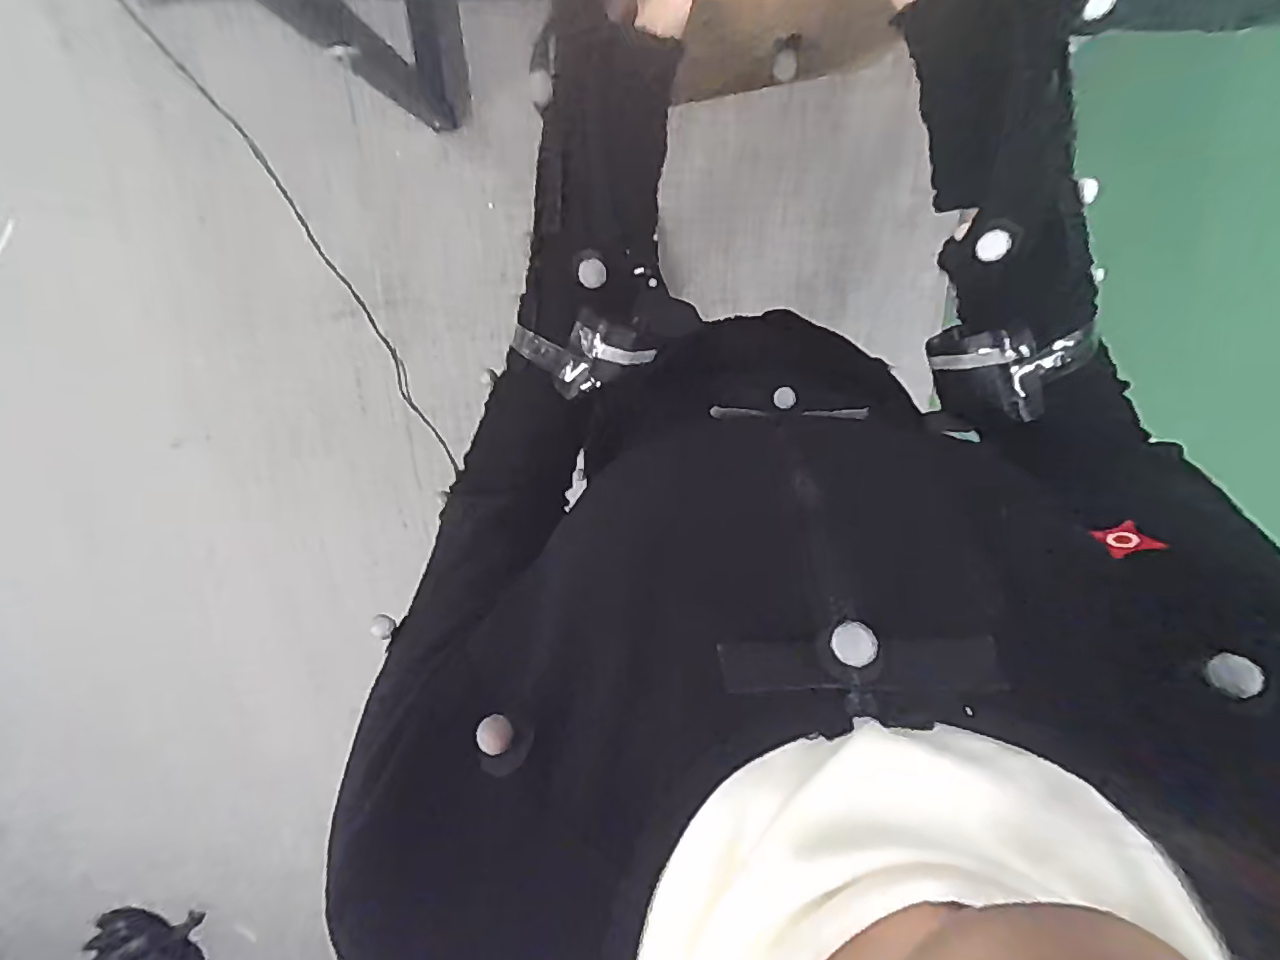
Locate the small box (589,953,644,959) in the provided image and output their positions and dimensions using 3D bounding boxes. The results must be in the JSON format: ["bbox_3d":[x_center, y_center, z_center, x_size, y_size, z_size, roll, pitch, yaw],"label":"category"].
[{"bbox_3d":[-0.067,1.565,1.624,0.179,0.176,0.168,-6,108,4],"label":"small box"}]

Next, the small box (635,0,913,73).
[{"bbox_3d":[0.069,-0.332,0.265,0.168,0.176,0.179,-8,111,6],"label":"small box"}]
